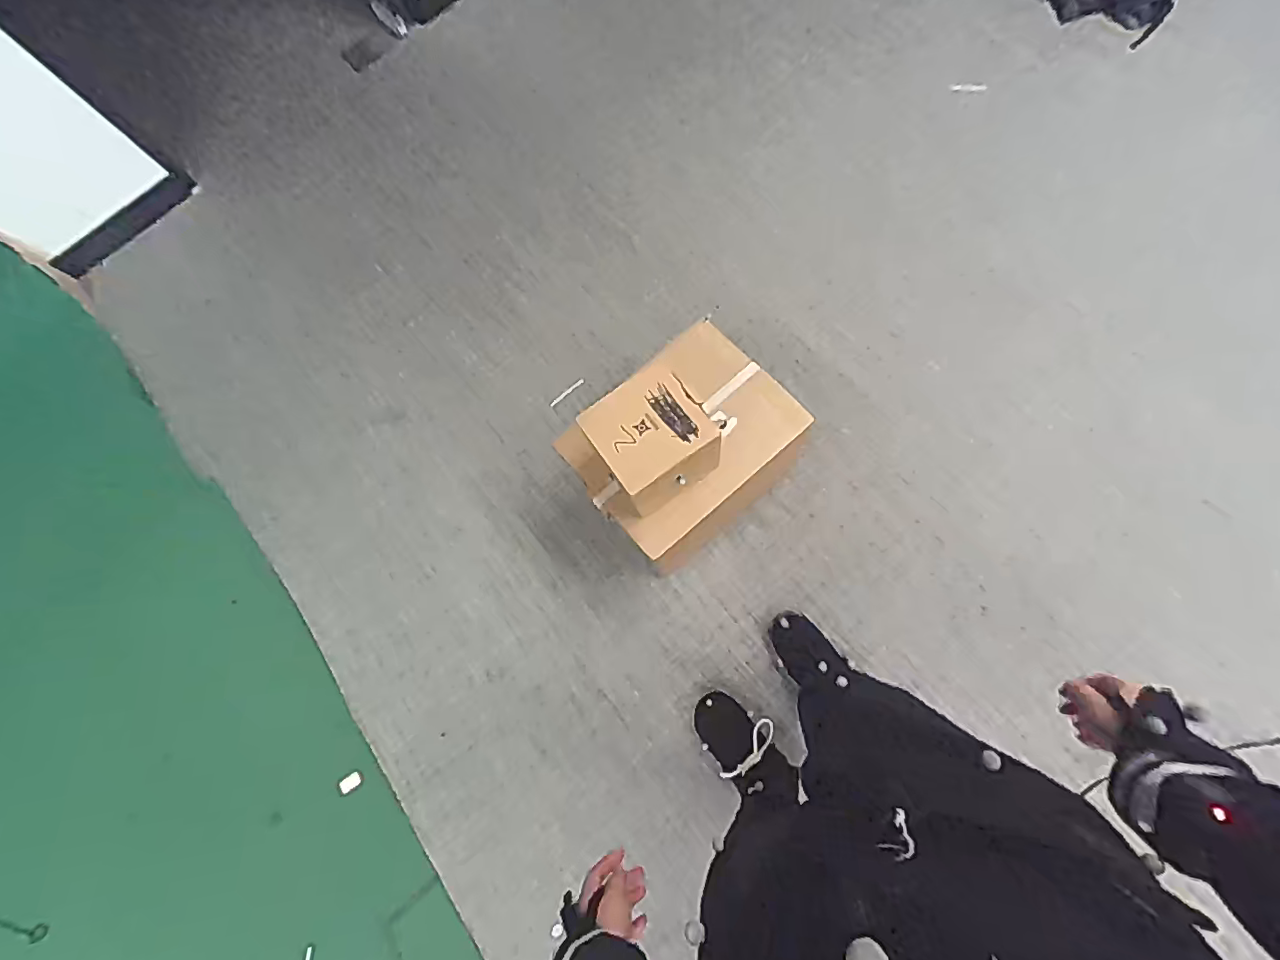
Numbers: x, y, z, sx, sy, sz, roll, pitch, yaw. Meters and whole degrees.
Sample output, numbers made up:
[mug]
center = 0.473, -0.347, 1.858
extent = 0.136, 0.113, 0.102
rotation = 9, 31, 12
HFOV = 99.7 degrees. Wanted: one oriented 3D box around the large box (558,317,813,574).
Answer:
[large box]
center = 0.096, -0.055, 1.171
extent = 0.408, 0.320, 0.320
rotation = -40, 75, -6
